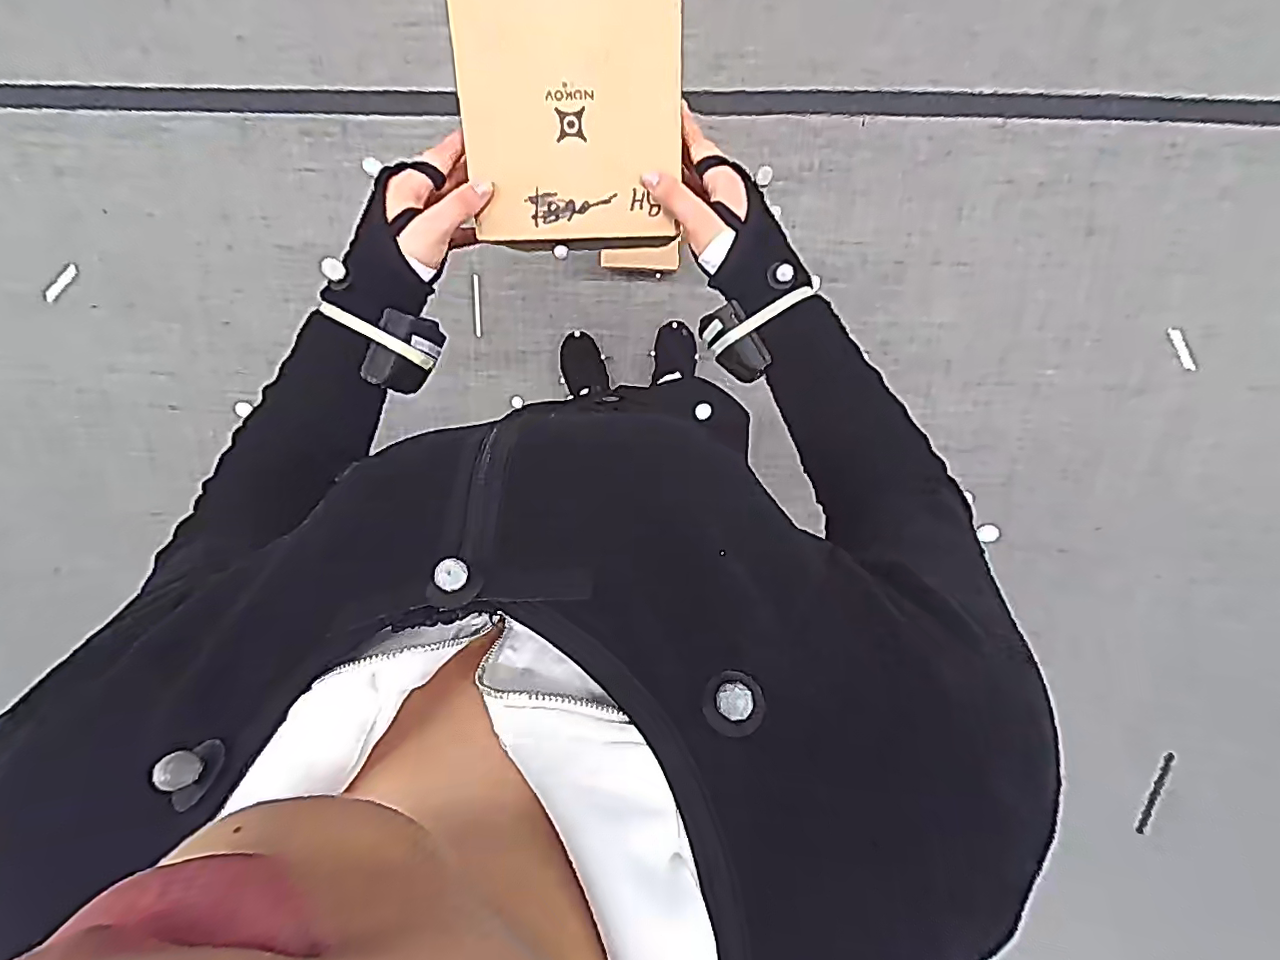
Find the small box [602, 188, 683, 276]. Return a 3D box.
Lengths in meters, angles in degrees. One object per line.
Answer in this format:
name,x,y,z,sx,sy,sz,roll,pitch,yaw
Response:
small box,0.005,-0.568,1.255,0.179,0.176,0.168,2,108,2
